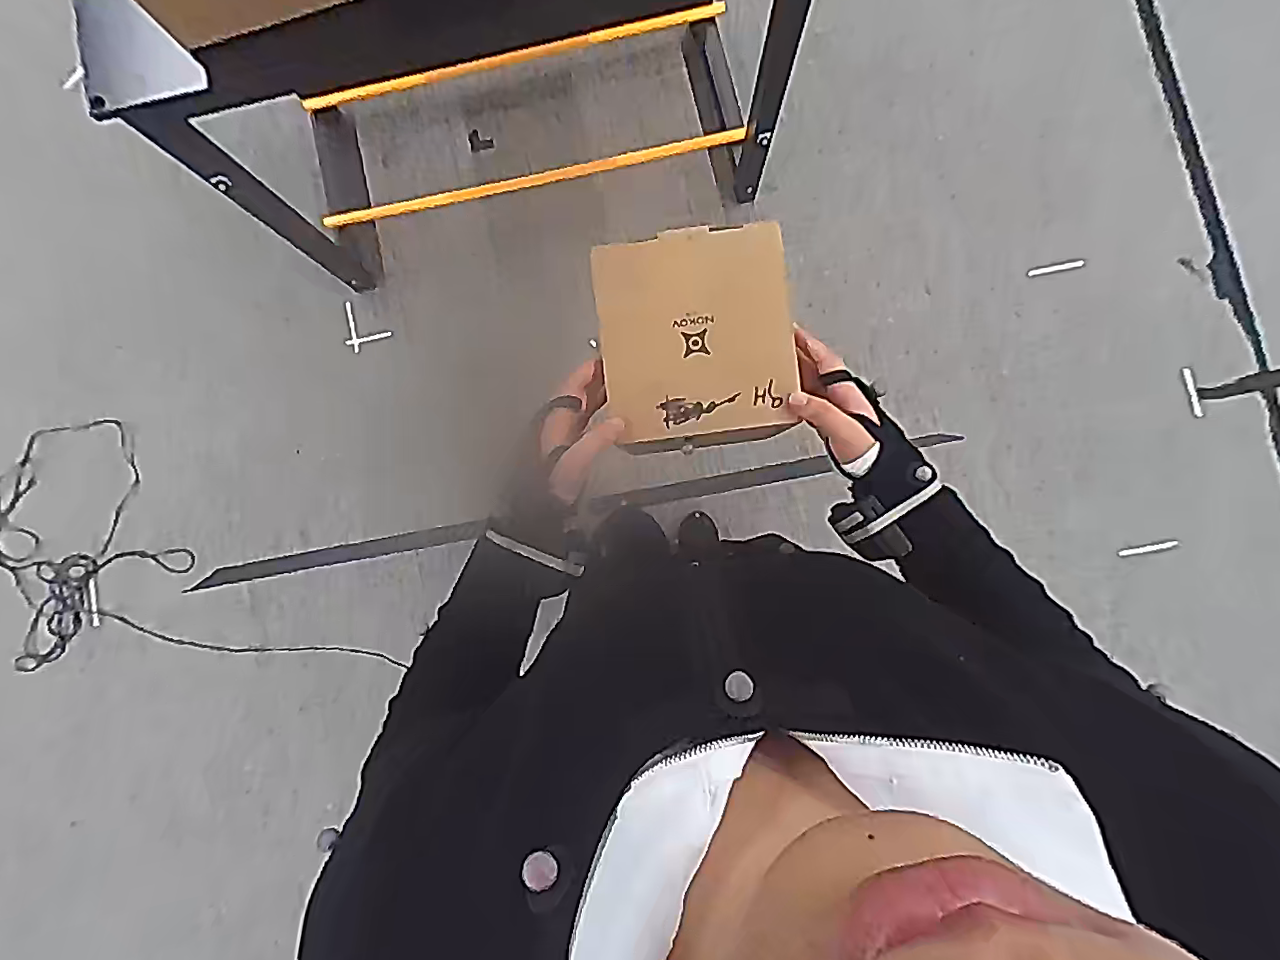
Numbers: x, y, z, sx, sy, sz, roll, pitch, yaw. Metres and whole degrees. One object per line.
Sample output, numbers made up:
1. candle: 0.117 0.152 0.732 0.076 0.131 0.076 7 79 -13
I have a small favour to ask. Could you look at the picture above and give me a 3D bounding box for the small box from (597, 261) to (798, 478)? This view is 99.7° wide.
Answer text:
1. small box: 0.053 -0.098 0.557 0.168 0.176 0.179 -7 89 3
